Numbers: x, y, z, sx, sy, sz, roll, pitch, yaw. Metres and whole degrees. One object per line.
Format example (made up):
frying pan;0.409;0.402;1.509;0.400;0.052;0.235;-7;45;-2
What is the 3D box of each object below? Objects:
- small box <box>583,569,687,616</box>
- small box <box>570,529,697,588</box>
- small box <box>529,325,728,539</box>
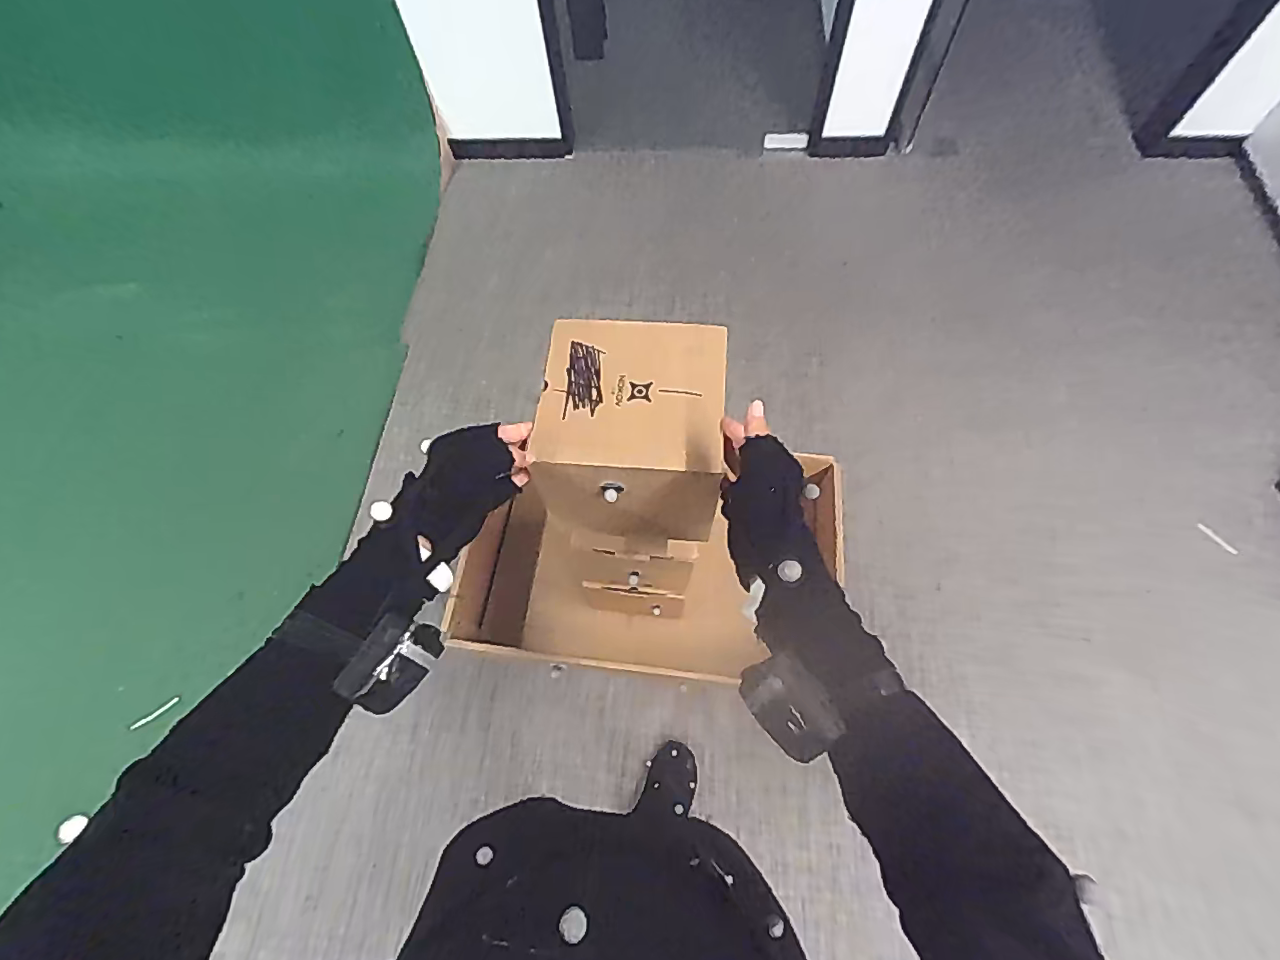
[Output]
small box;0.004;0.130;0.942;0.168;0.176;0.179;6;63;4
small box;0.003;0.053;0.797;0.168;0.176;0.179;6;66;4
small box;-0.003;-0.044;0.581;0.179;0.176;0.168;4;63;4
